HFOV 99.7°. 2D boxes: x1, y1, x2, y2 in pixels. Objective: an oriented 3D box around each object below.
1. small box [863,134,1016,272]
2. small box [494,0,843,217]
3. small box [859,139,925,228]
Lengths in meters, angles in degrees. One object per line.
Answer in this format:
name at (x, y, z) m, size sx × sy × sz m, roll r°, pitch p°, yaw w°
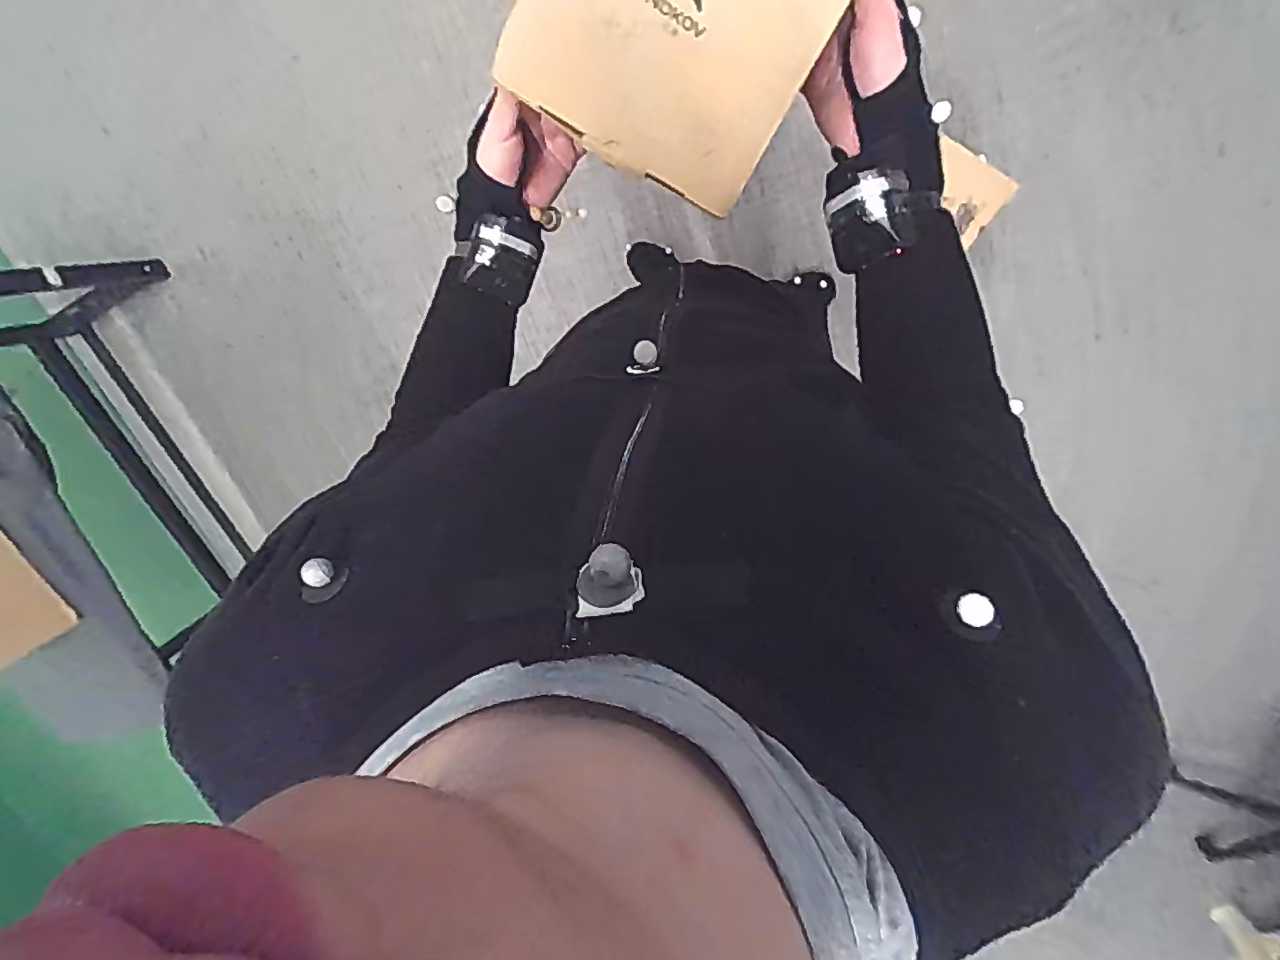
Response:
small box at (0.560, -0.527, 1.039) m, size 0.179 × 0.176 × 0.168 m, roll 33°, pitch 118°, yaw -2°
small box at (0.023, -0.316, 0.362) m, size 0.168 × 0.176 × 0.179 m, roll 22°, pitch 124°, yaw -16°
small box at (0.604, -0.609, 1.176) m, size 0.179 × 0.176 × 0.168 m, roll 25°, pitch 118°, yaw 0°
